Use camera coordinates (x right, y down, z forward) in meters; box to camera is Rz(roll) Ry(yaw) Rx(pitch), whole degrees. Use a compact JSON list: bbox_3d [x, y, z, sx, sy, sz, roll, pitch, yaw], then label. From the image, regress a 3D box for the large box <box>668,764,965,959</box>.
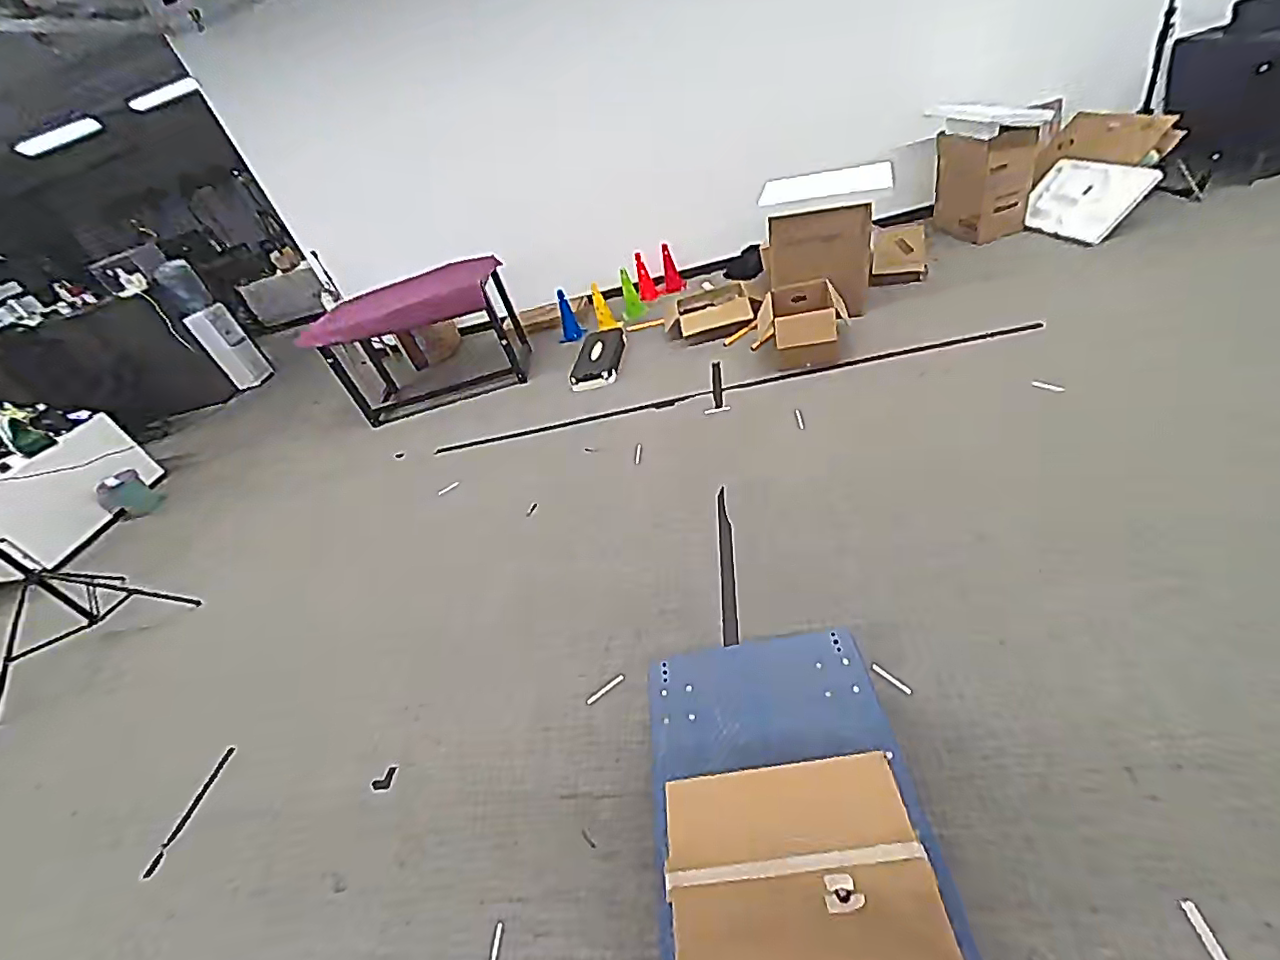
[{"bbox_3d":[0.282,0.745,0.932,0.408,0.320,0.320,-12,37,8],"label":"large box"}]
